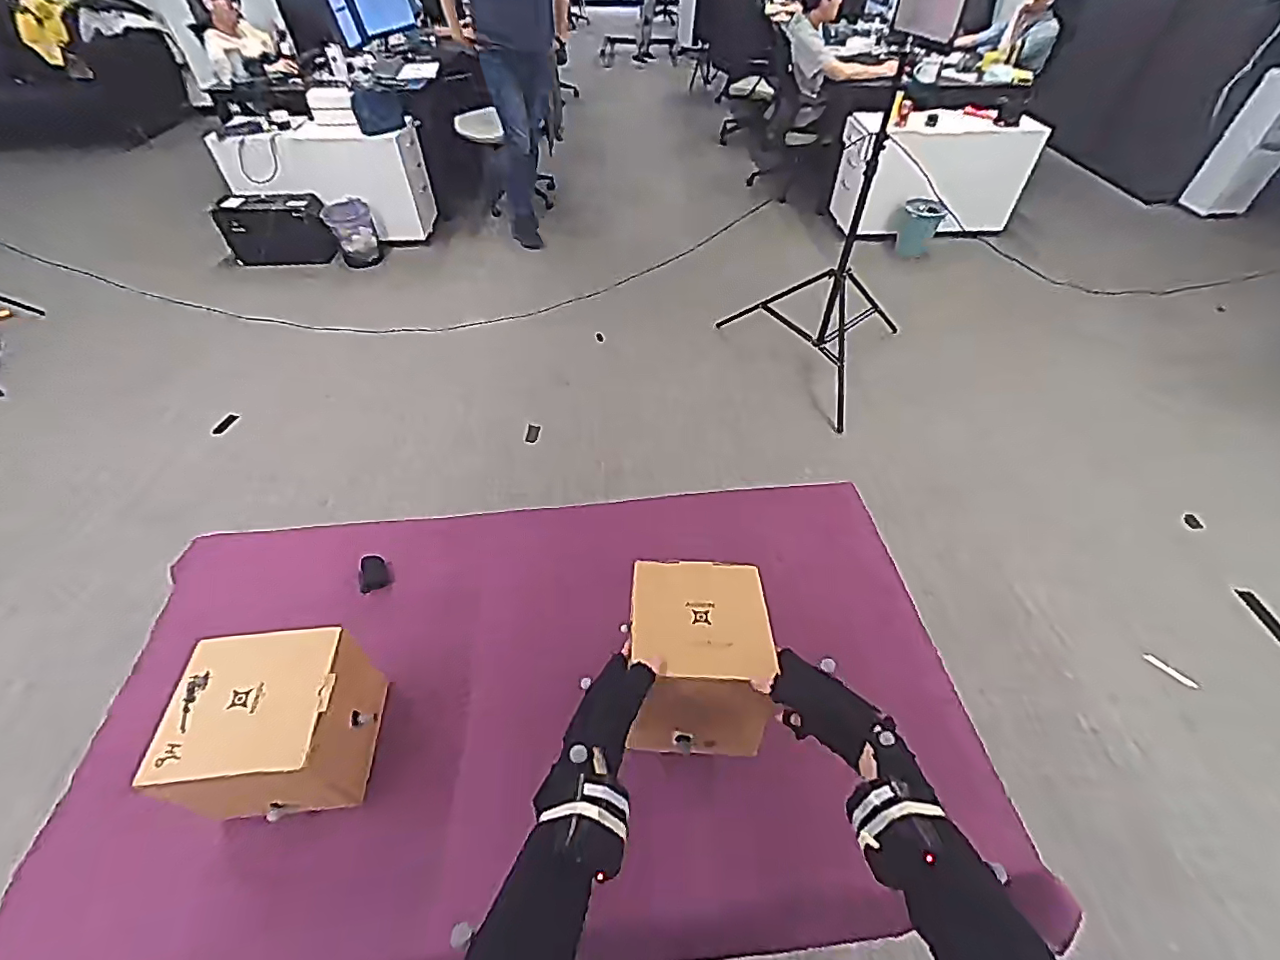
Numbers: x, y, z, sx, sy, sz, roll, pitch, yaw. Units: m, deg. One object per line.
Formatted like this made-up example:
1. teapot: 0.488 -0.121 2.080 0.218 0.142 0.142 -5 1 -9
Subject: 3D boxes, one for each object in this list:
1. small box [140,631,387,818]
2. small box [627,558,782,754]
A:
1. small box: -0.443 0.308 0.680 0.179 0.176 0.168 -4 47 -4
2. small box: 0.069 0.222 0.695 0.168 0.176 0.179 2 37 -1
